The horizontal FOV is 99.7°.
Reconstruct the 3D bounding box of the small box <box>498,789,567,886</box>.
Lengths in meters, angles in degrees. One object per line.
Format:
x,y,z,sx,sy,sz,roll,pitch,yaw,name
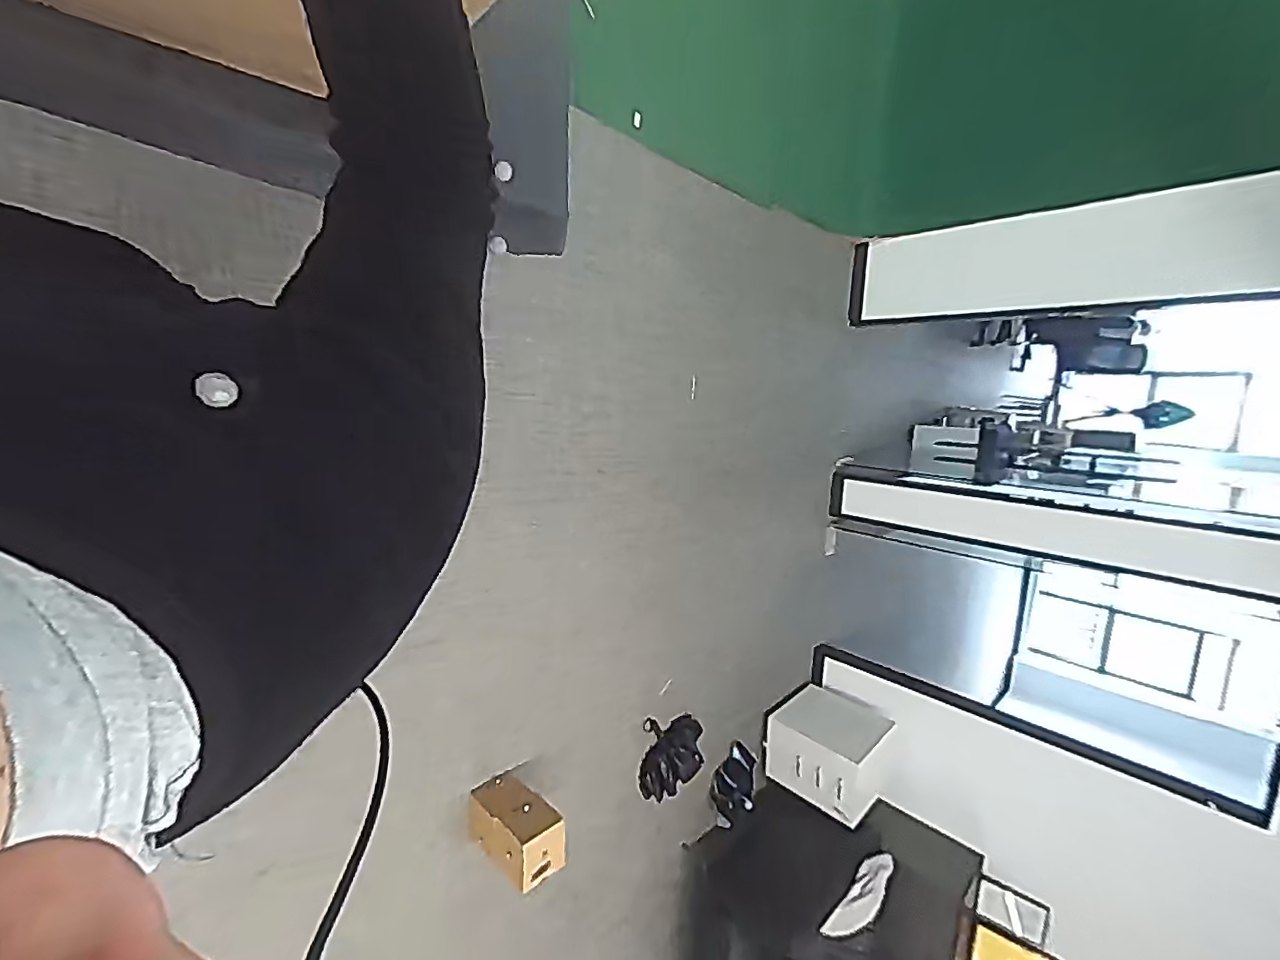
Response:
-0.360,1.185,1.806,0.168,0.176,0.179,-8,103,-45,small box

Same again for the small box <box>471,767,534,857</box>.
-0.483,1.167,1.915,0.168,0.176,0.179,-10,104,-45,small box
